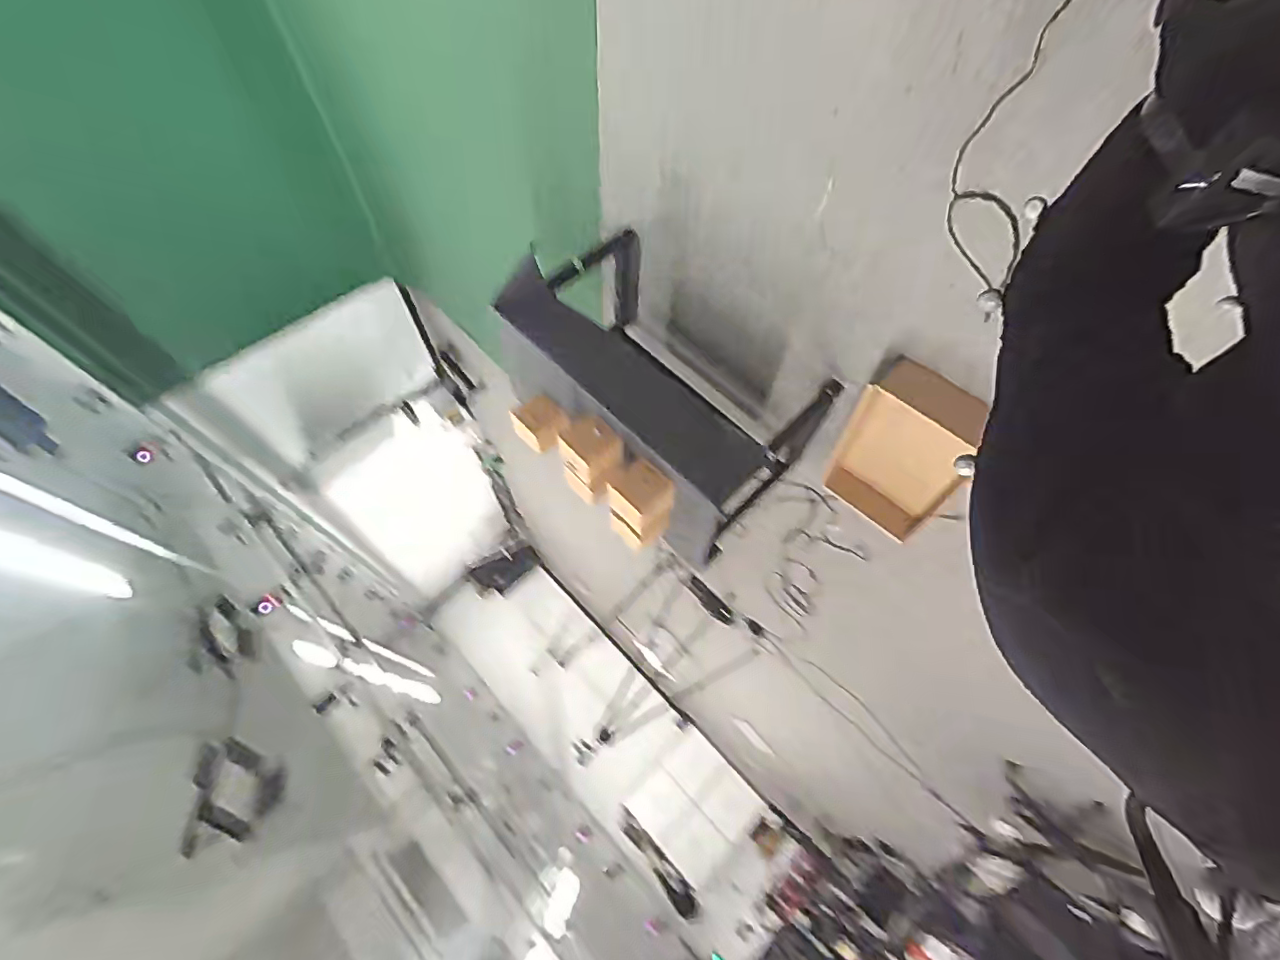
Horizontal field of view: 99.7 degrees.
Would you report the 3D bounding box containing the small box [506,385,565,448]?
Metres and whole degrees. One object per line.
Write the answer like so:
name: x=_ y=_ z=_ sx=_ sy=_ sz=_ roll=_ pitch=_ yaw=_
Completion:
small box: x=-0.439 y=-0.278 z=2.283 sx=0.179 sy=0.176 sz=0.168 roll=42 pitch=158 yaw=16
